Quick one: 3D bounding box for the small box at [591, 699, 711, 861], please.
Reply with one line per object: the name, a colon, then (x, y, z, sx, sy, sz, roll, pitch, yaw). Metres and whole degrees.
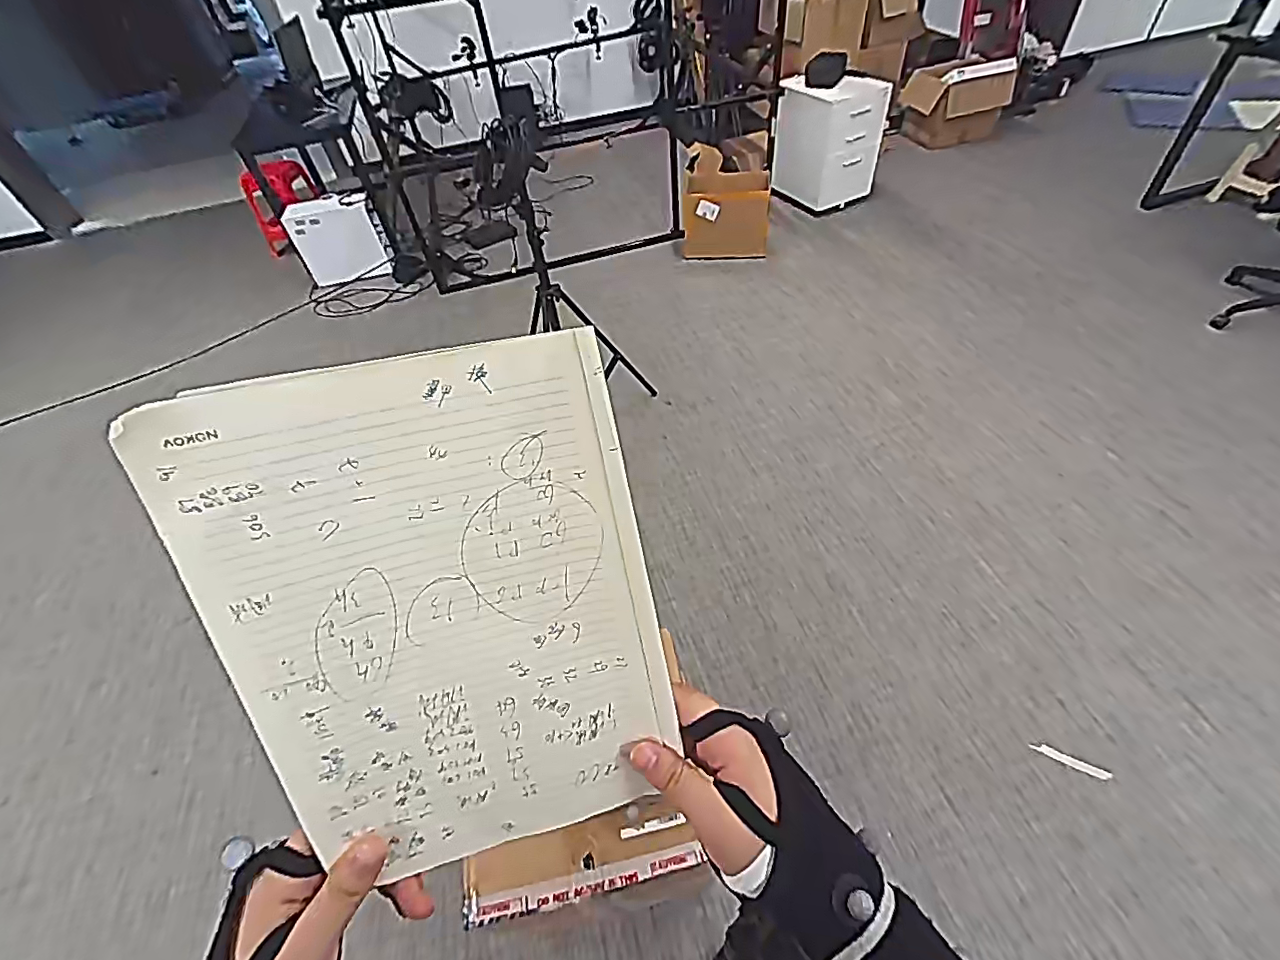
small box: (0.000, 0.468, 0.841, 0.179, 0.176, 0.168, -13, 49, -6)

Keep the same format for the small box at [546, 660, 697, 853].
small box: (-0.027, 0.366, 0.713, 0.168, 0.176, 0.179, -9, 50, -5)
